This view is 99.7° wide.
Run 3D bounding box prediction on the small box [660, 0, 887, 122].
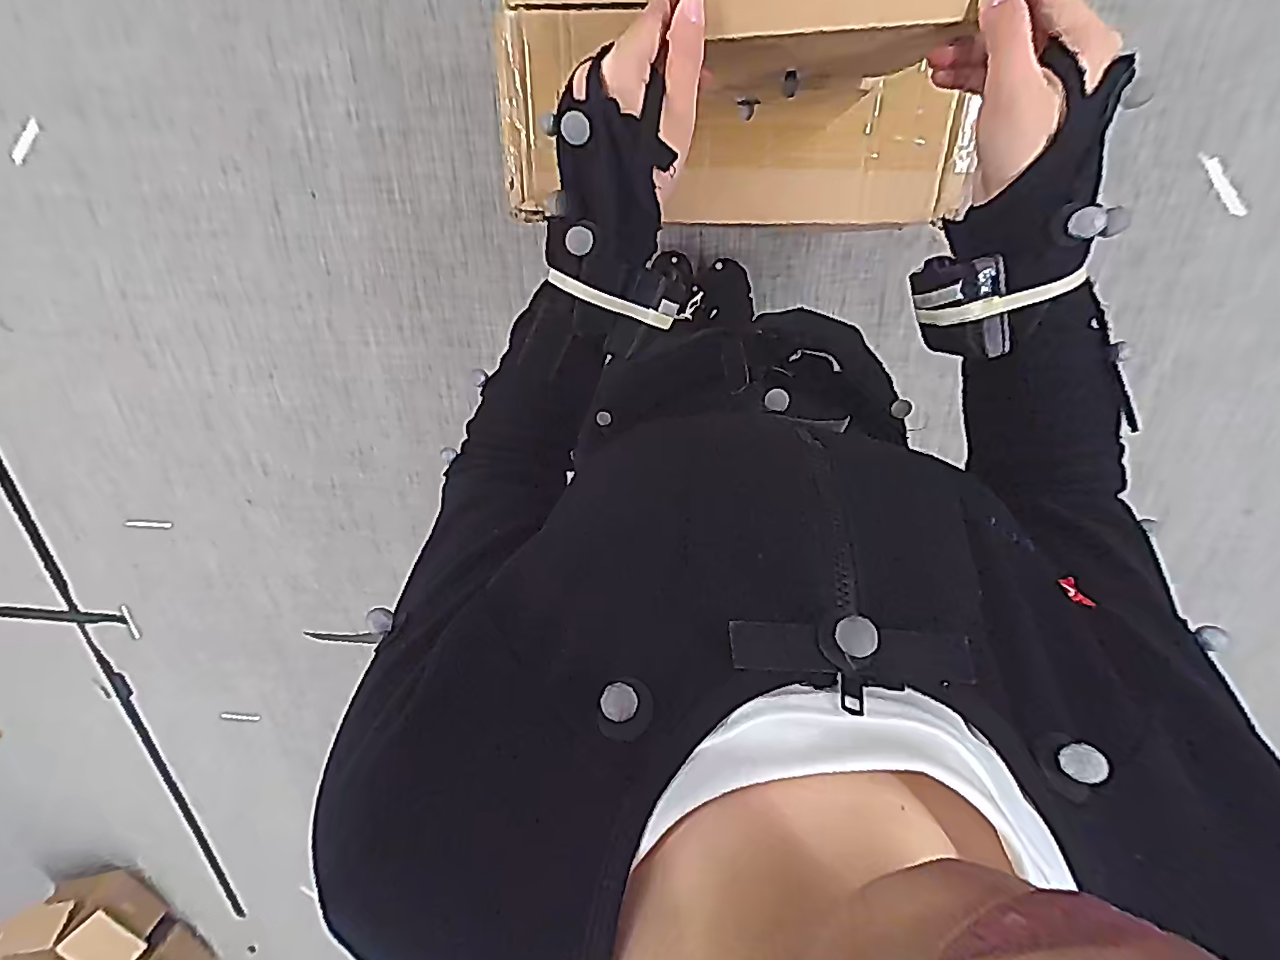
[{"bbox_3d":[0.112,-0.431,0.483,0.179,0.176,0.168,3,115,4],"label":"small box"}]
